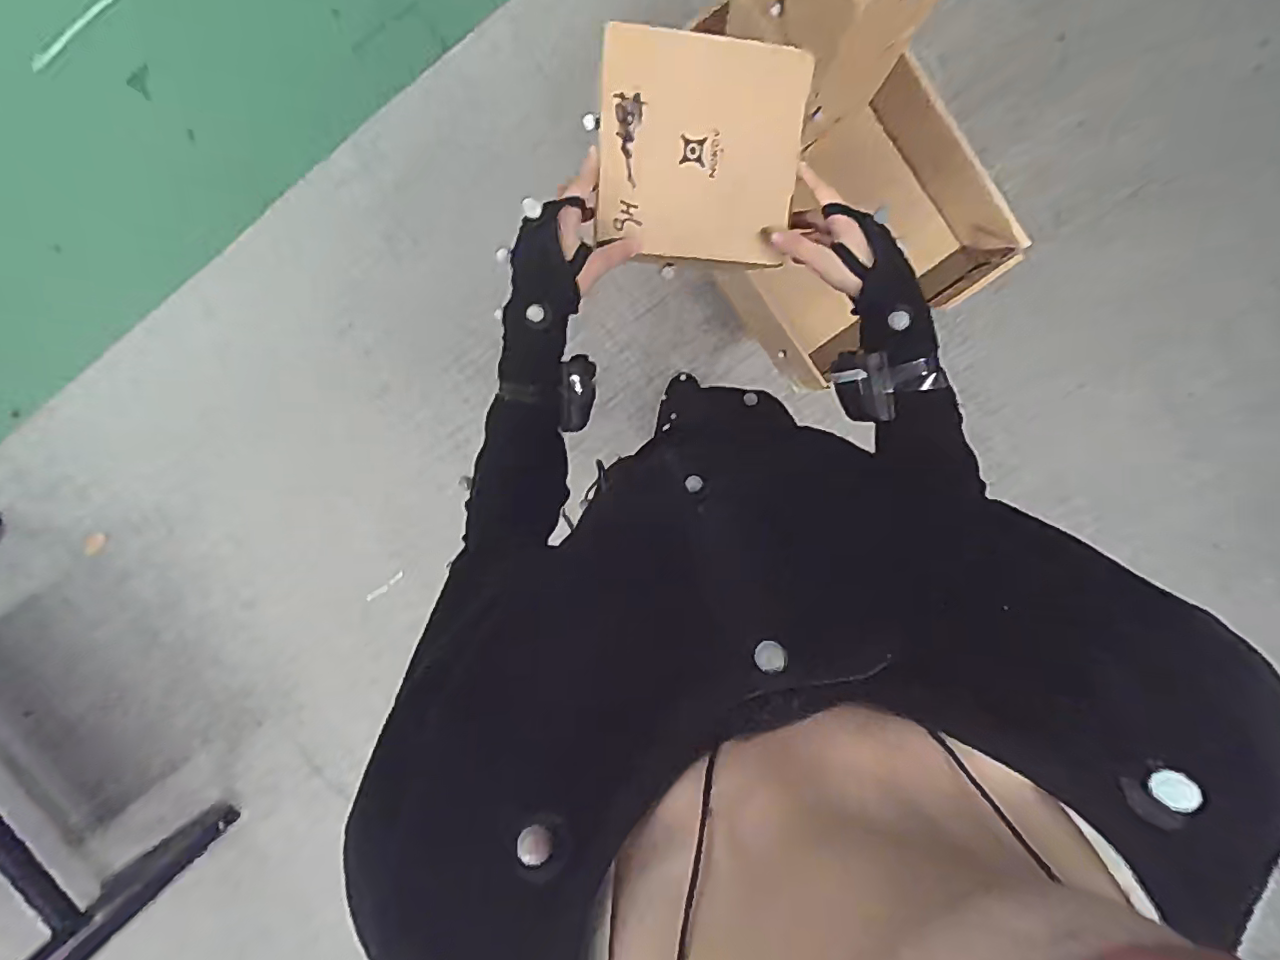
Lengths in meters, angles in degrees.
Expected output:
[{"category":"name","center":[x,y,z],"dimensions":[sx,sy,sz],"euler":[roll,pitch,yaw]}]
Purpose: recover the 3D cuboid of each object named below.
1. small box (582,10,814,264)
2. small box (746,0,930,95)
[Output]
[{"category":"small box","center":[0.039,-0.306,0.526],"dimensions":[0.179,0.176,0.168],"euler":[2,109,-9]},{"category":"small box","center":[0.237,-0.584,0.588],"dimensions":[0.179,0.176,0.168],"euler":[-37,93,7]}]
